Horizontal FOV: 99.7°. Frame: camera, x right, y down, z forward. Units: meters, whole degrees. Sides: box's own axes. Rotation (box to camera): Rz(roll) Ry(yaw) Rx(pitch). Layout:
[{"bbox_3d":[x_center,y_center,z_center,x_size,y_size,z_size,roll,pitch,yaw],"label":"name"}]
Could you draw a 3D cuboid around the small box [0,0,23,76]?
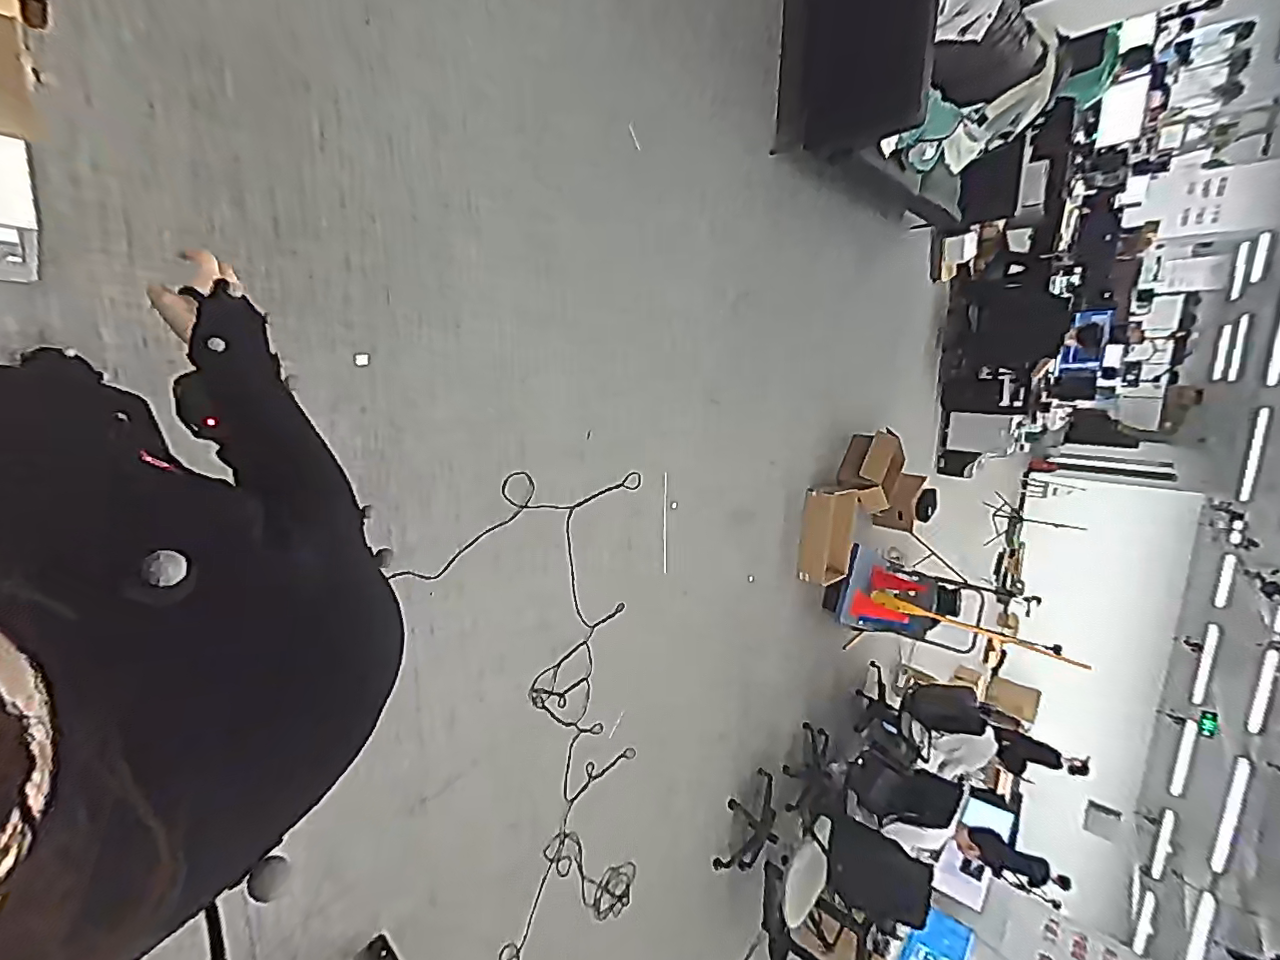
[{"bbox_3d":[-0.549,-0.409,0.353,0.179,0.176,0.168,-9,104,-47],"label":"small box"}]
